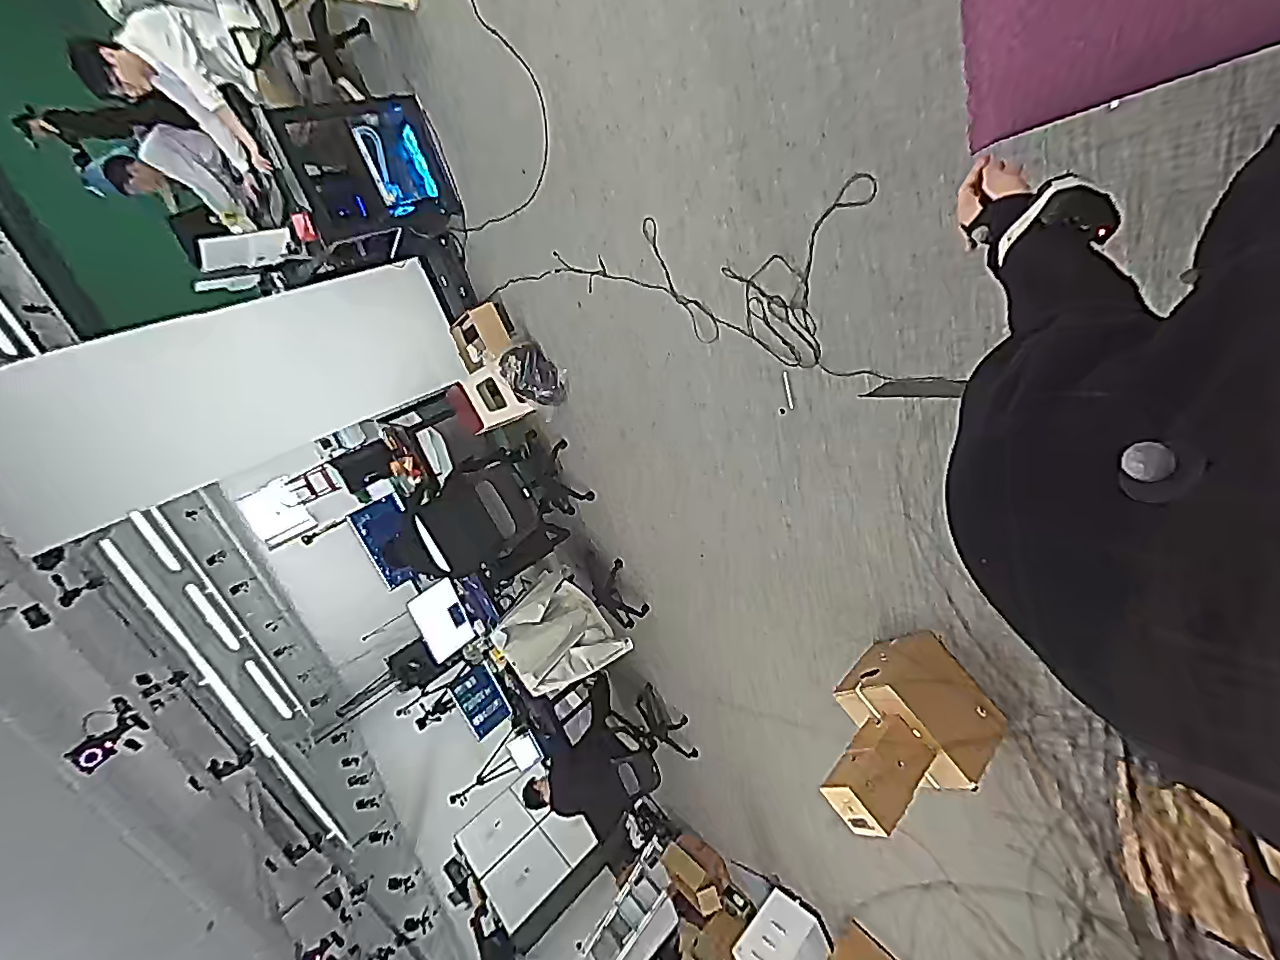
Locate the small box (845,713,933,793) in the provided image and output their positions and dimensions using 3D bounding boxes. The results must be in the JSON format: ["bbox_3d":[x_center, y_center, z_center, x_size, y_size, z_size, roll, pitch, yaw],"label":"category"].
[{"bbox_3d":[0.845,0.923,1.829,0.179,0.176,0.168,51,148,13],"label":"small box"}]
